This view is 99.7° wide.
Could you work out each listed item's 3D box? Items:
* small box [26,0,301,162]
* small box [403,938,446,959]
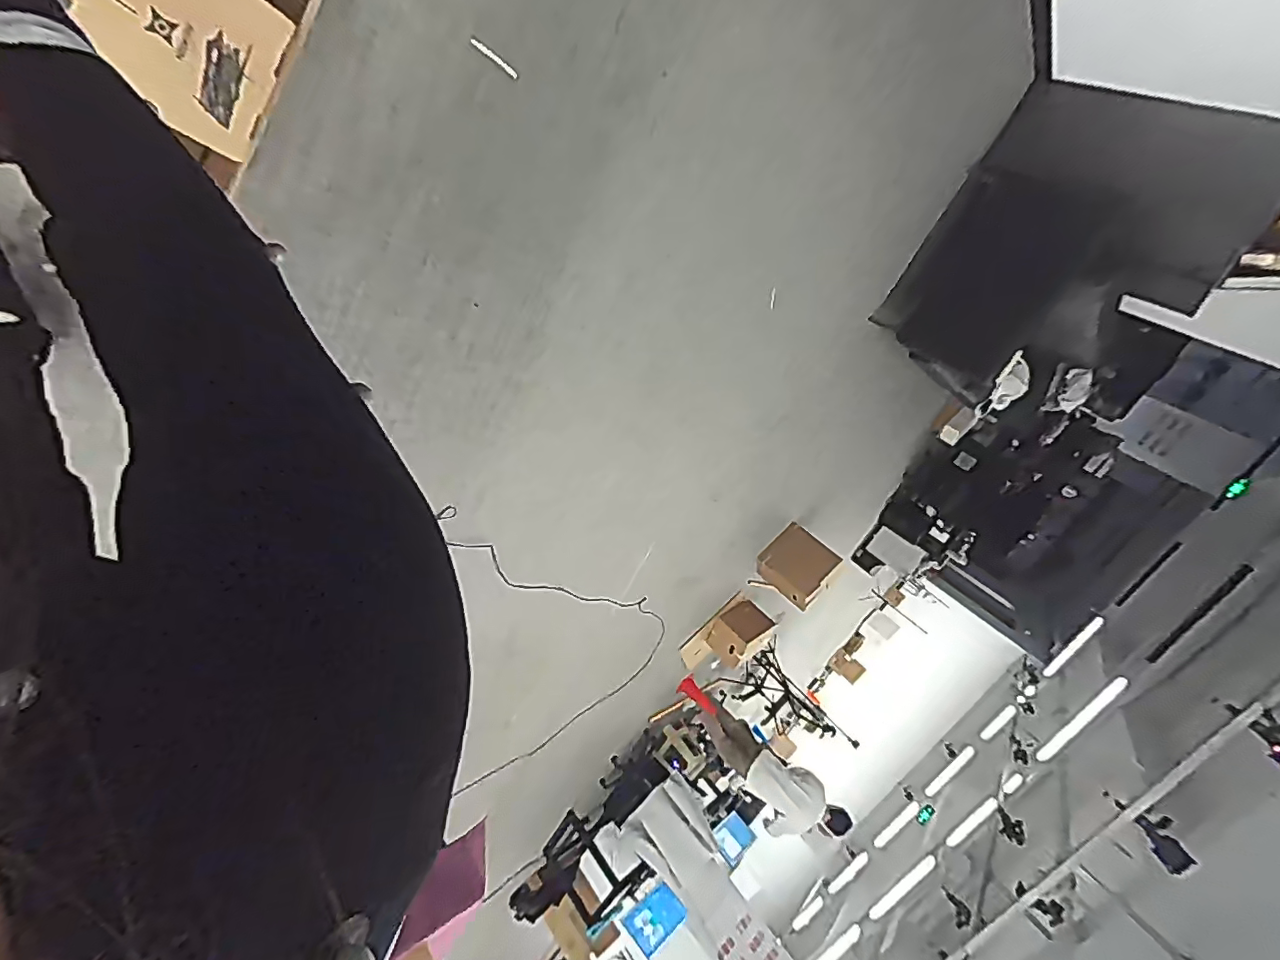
[{"bbox_3d":[-0.512,-0.493,0.584,0.179,0.176,0.168,14,114,-54],"label":"small box"},{"bbox_3d":[-0.670,1.521,1.590,0.179,0.176,0.168,2,124,-51],"label":"small box"}]
